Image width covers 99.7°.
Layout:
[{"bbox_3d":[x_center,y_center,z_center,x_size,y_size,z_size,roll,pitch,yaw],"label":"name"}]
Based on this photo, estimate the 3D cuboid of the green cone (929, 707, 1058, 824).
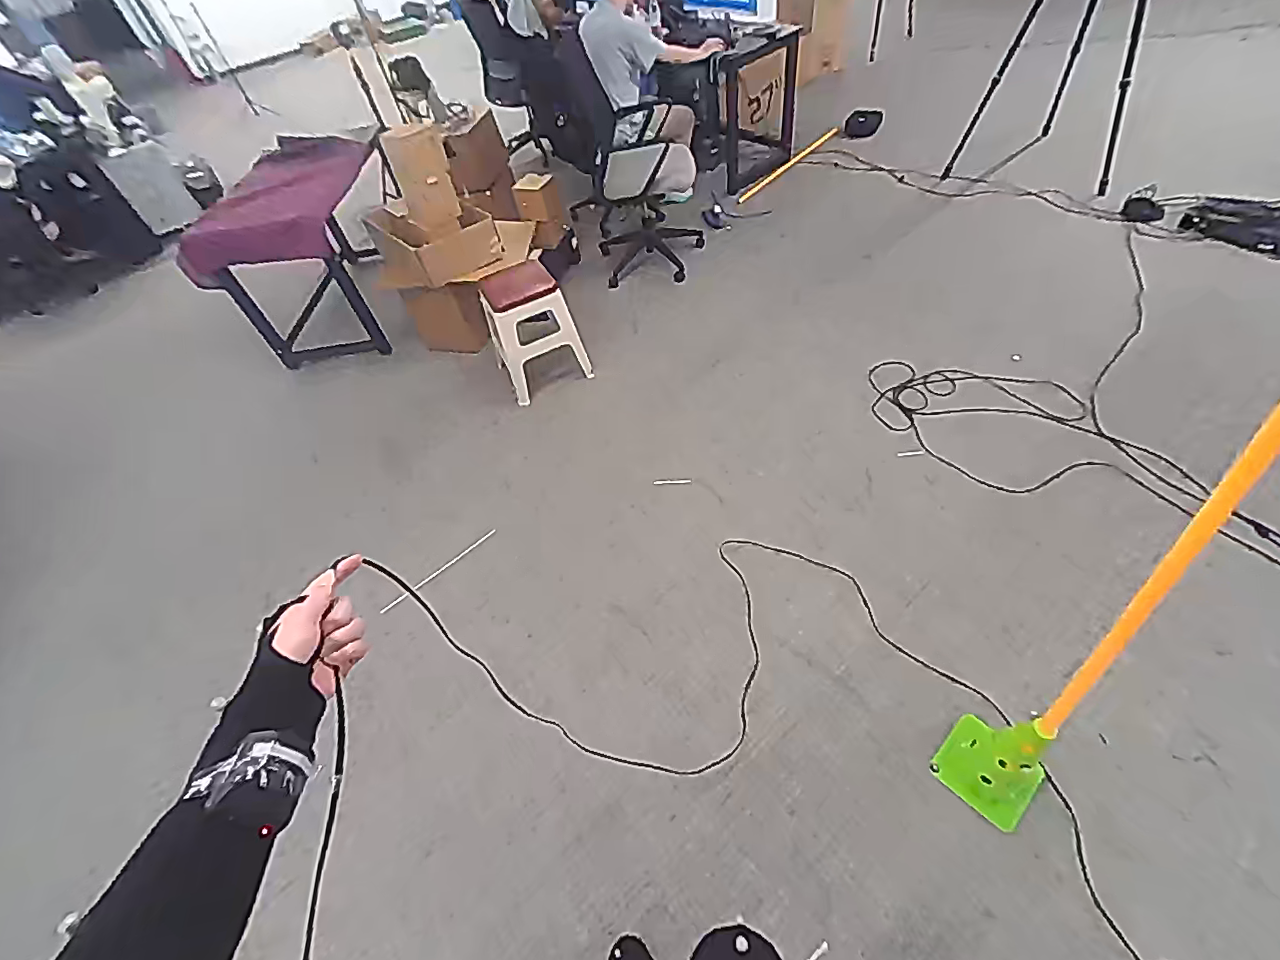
[{"bbox_3d":[0.829,0.590,1.204,0.202,0.368,0.200,-39,55,-22],"label":"green cone"}]
